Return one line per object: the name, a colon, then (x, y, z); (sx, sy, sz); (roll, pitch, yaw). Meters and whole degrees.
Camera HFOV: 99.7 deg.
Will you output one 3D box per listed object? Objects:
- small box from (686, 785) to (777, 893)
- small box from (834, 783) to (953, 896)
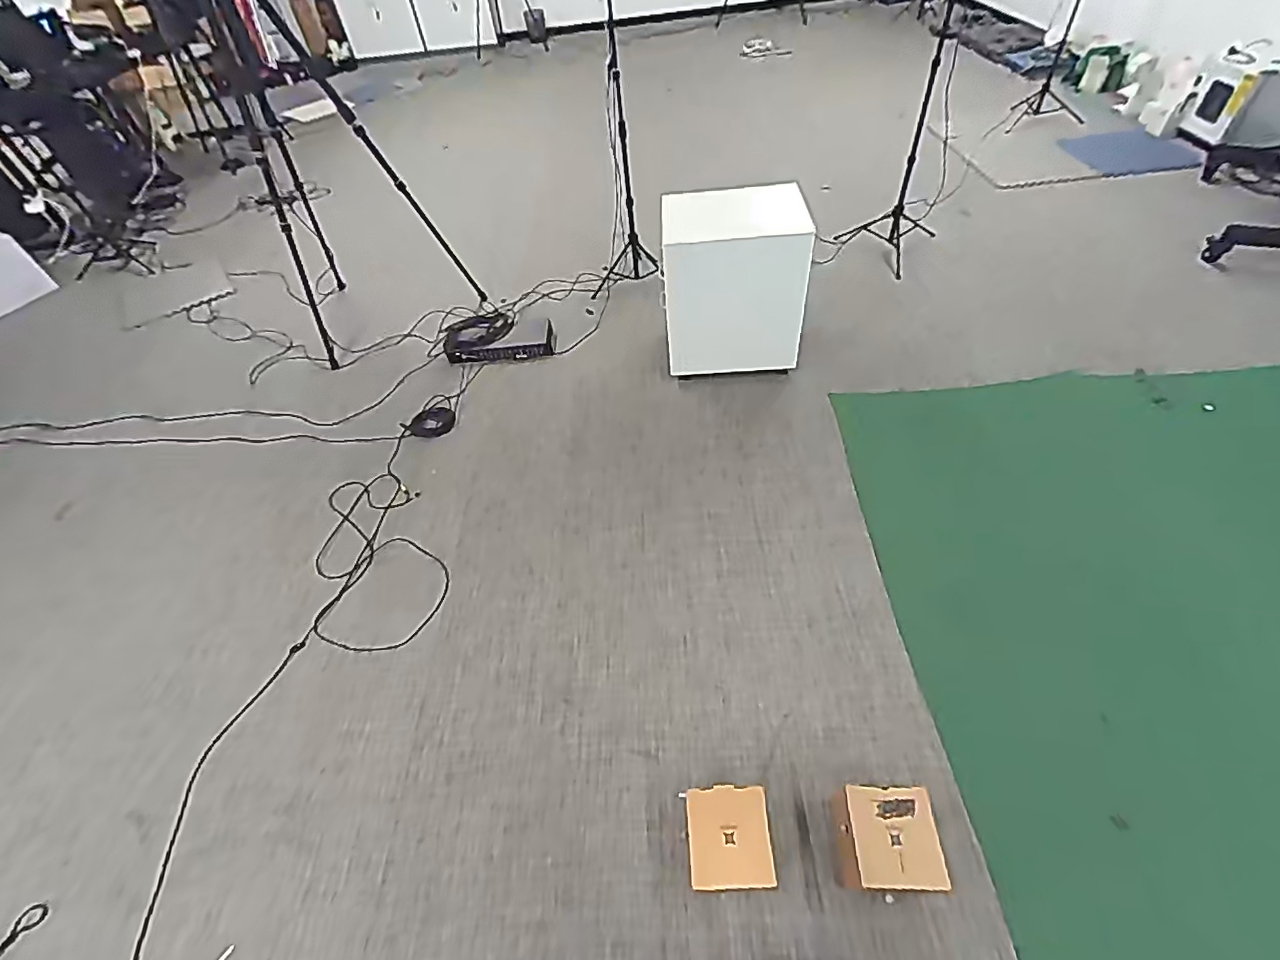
small box: (0.190, 0.769, 1.154); (0.168, 0.176, 0.179); (-4, 49, 3)
small box: (0.515, 0.751, 1.130); (0.168, 0.176, 0.179); (-2, 50, 6)
